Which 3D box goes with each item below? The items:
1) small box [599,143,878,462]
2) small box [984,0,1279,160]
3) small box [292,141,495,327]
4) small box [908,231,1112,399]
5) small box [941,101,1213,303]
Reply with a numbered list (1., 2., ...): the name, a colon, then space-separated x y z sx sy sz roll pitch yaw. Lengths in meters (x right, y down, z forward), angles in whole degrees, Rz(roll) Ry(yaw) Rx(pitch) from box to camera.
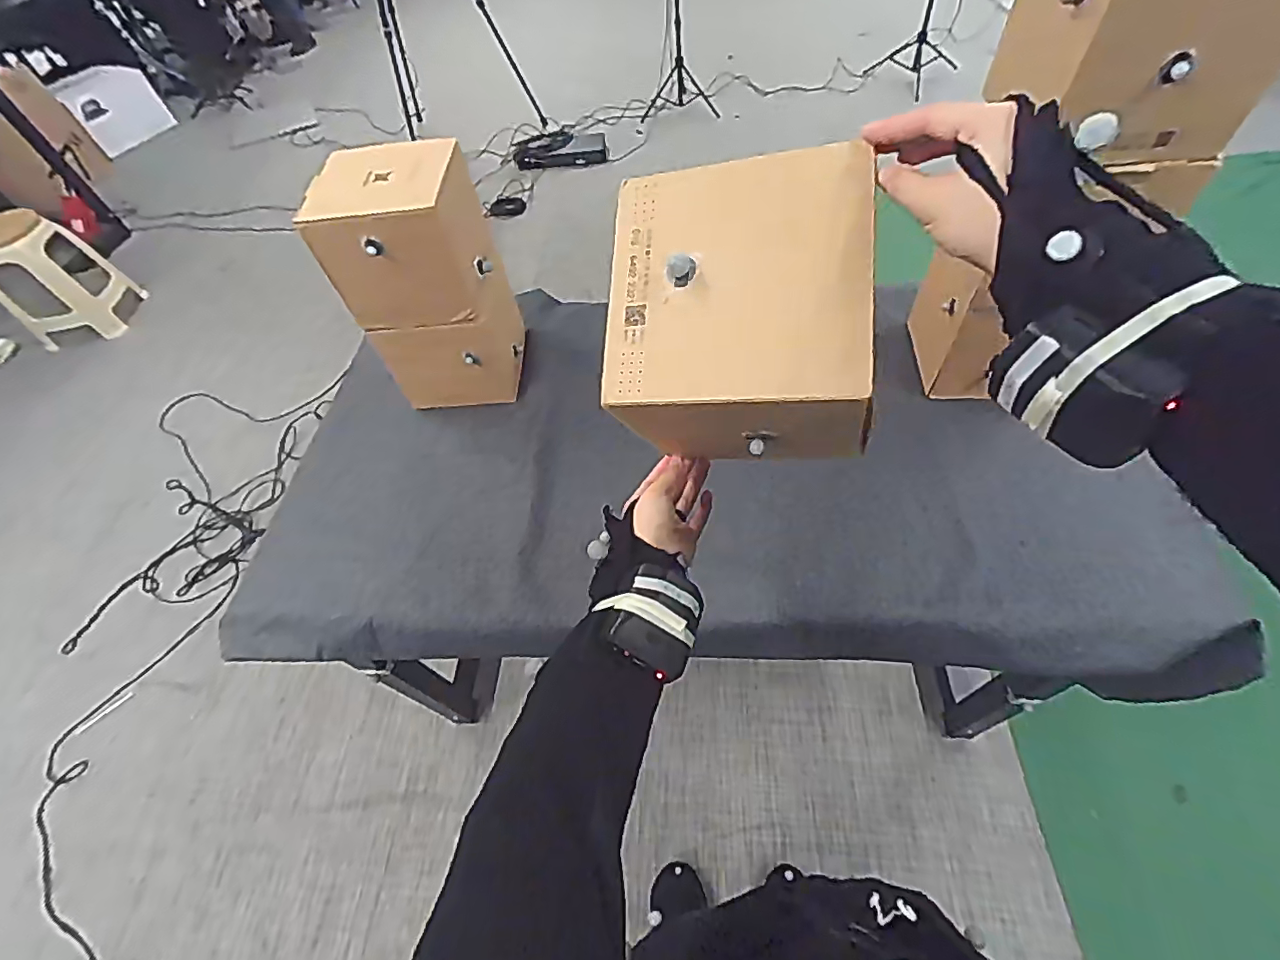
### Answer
1. small box: 0.084 -0.112 0.416 0.176 0.179 0.168 1 81 21
2. small box: 0.455 -0.417 0.497 0.168 0.176 0.179 0 56 7
3. small box: -0.315 -0.326 0.734 0.179 0.176 0.168 -4 57 3
4. small box: 0.501 -0.237 0.769 0.168 0.176 0.179 1 56 8
5. small box: 0.480 -0.324 0.632 0.168 0.176 0.179 1 57 8
